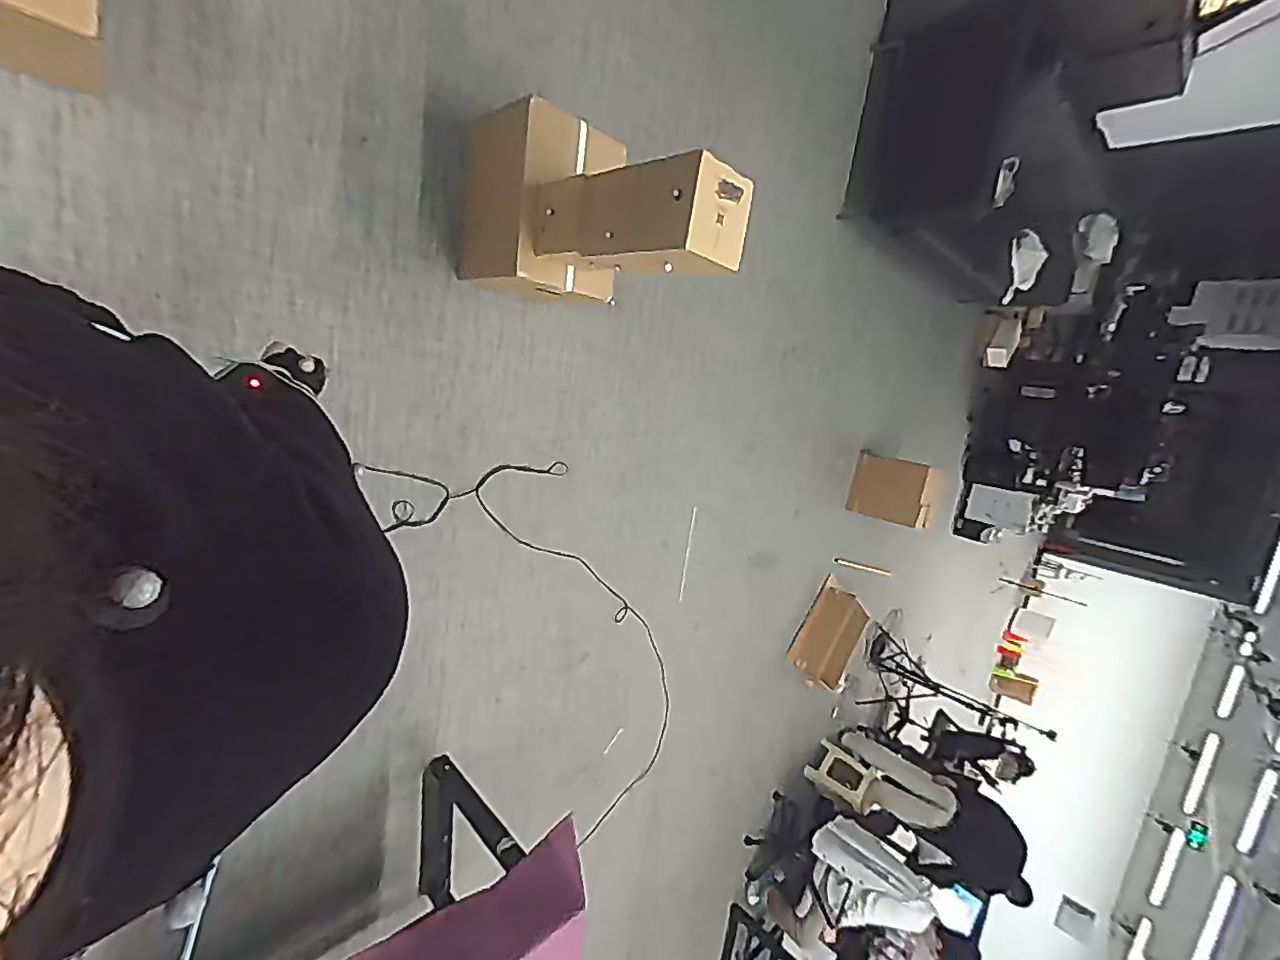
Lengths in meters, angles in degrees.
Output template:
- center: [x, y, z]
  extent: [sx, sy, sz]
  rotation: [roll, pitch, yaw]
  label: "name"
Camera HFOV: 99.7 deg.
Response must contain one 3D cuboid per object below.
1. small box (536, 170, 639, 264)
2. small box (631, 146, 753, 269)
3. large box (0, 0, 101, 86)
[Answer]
- center: [-0.128, -0.631, 1.318]
  extent: [0.179, 0.176, 0.168]
  rotation: [-5, 107, -43]
  label: "small box"
- center: [0.101, -0.541, 1.099]
  extent: [0.168, 0.176, 0.179]
  rotation: [-1, 106, -44]
  label: "small box"
- center: [-0.970, -0.863, 0.738]
  extent: [0.320, 0.320, 0.408]
  rotation: [-3, 105, -45]
  label: "large box"
